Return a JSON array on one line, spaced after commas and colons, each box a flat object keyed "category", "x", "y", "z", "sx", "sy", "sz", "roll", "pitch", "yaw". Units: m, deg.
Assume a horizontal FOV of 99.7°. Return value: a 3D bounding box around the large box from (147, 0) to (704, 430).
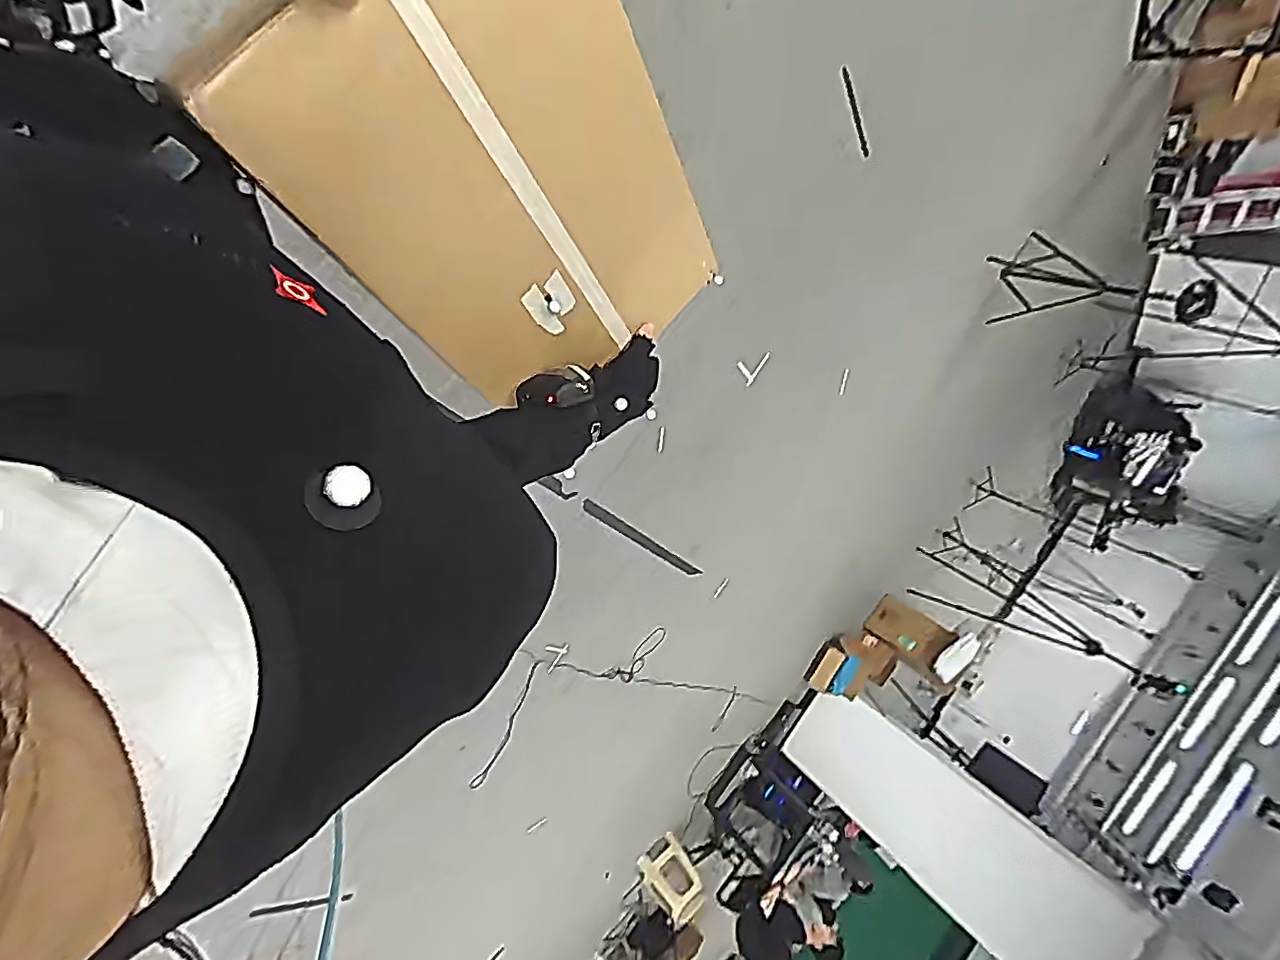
[{"category": "large box", "x": -0.195, "y": -0.330, "z": 0.588, "sx": 0.320, "sy": 0.320, "sz": 0.408, "roll": -47, "pitch": 143, "yaw": -5}]
